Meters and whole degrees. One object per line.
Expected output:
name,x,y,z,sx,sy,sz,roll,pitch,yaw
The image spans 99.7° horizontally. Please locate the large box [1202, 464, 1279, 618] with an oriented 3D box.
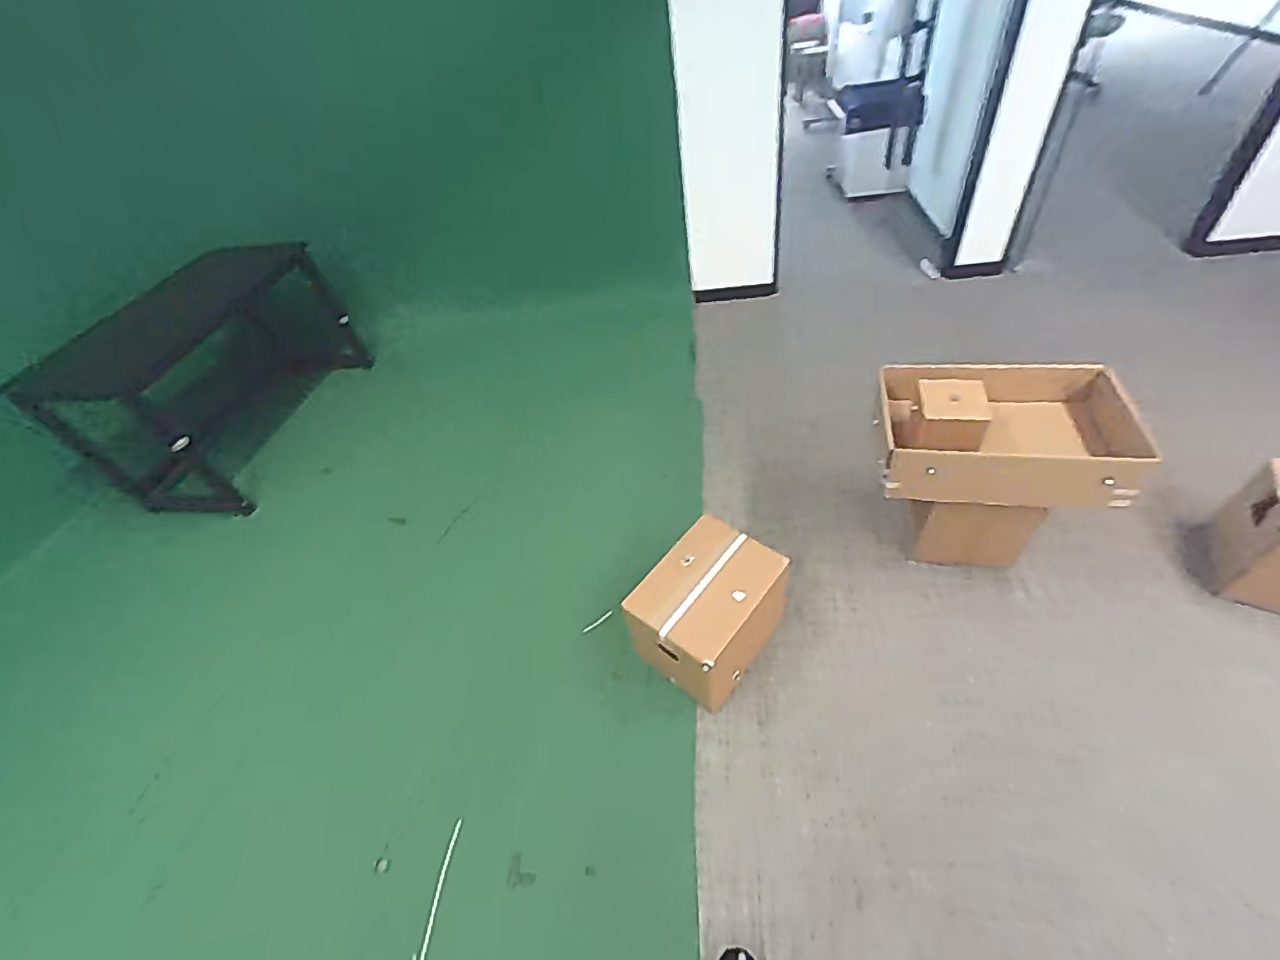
large box,1.929,0.205,1.507,0.408,0.320,0.320,16,51,25
